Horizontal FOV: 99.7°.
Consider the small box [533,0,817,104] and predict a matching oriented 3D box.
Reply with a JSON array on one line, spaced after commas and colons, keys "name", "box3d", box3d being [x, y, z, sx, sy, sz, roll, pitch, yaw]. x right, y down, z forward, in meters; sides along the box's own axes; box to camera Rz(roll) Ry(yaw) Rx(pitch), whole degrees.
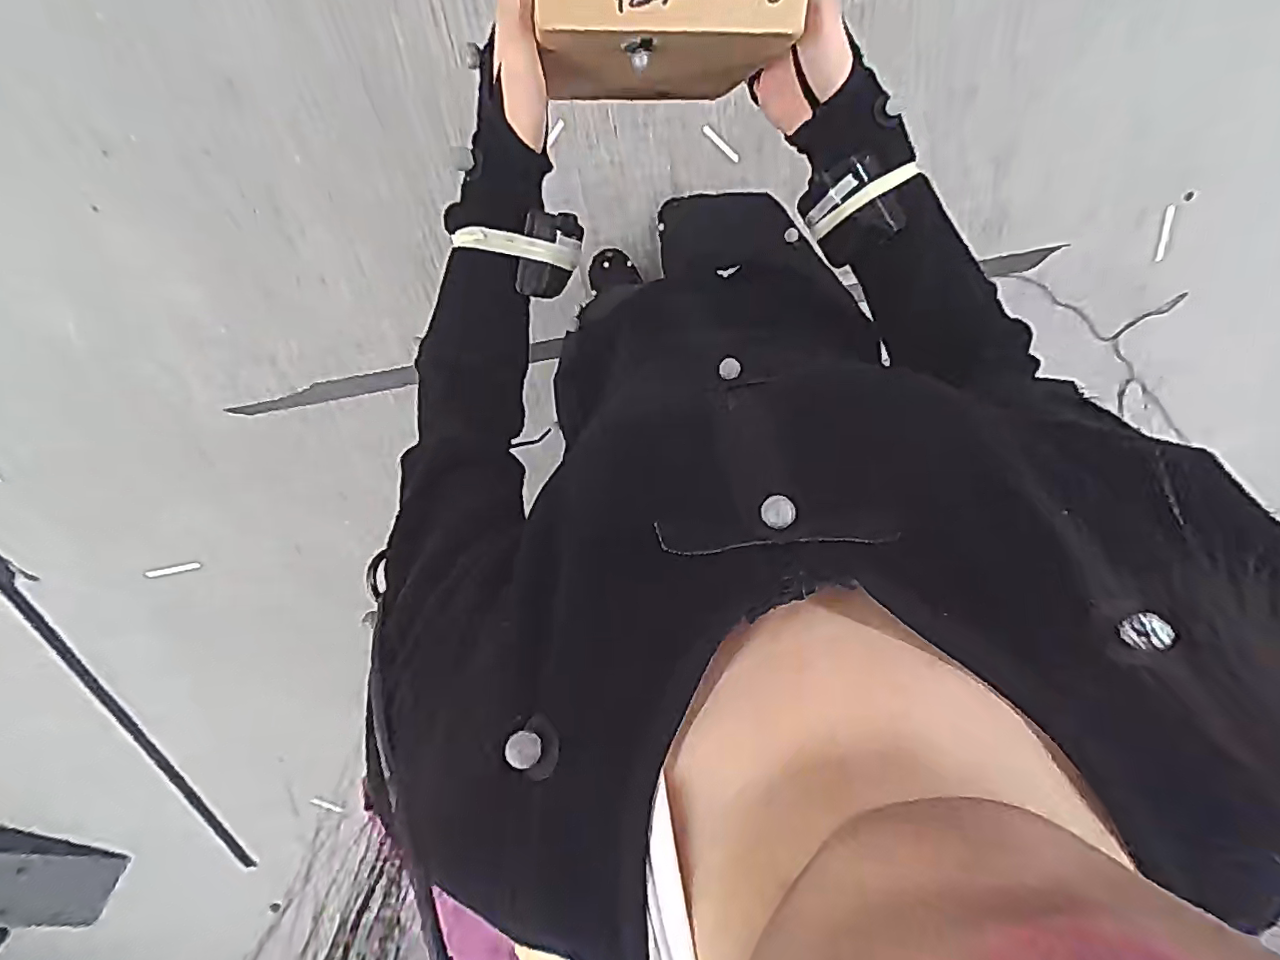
[{"name": "small box", "box3d": [0.010, -0.376, 0.359, 0.168, 0.176, 0.179, -6, 114, -9]}]

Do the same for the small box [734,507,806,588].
[{"name": "small box", "box3d": [0.387, 0.194, 1.627, 0.168, 0.176, 0.179, -11, 117, -1]}]
